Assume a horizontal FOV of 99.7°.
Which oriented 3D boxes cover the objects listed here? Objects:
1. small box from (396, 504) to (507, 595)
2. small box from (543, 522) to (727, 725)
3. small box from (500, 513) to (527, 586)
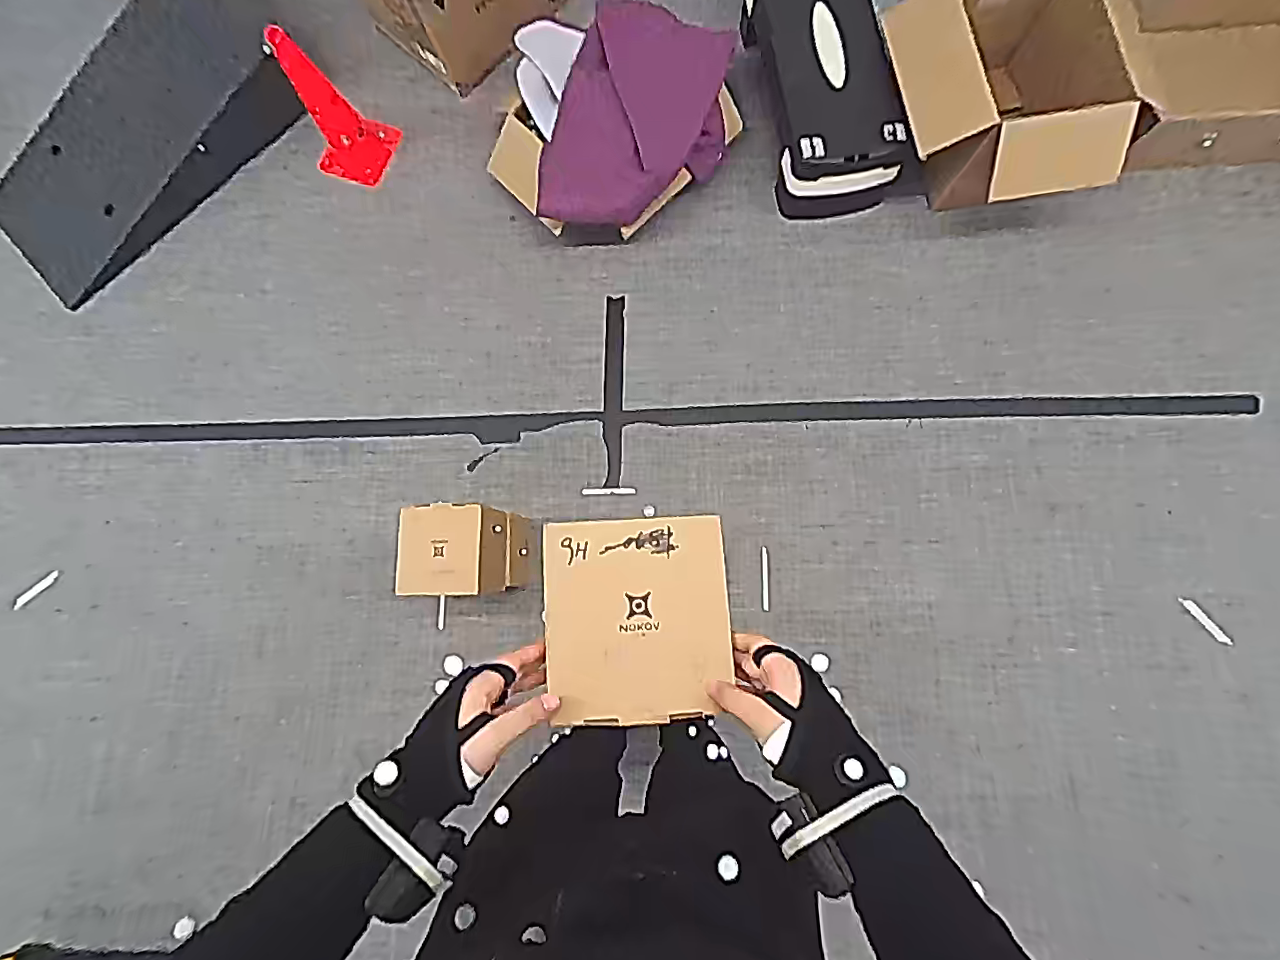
[{"bbox_3d":[-0.383,0.146,1.126,0.168,0.176,0.179,-2,82,4],"label":"small box"},{"bbox_3d":[-0.010,0.141,0.567,0.168,0.176,0.179,-2,79,-4],"label":"small box"},{"bbox_3d":[-0.372,0.168,1.287,0.179,0.176,0.168,-2,80,3],"label":"small box"}]
